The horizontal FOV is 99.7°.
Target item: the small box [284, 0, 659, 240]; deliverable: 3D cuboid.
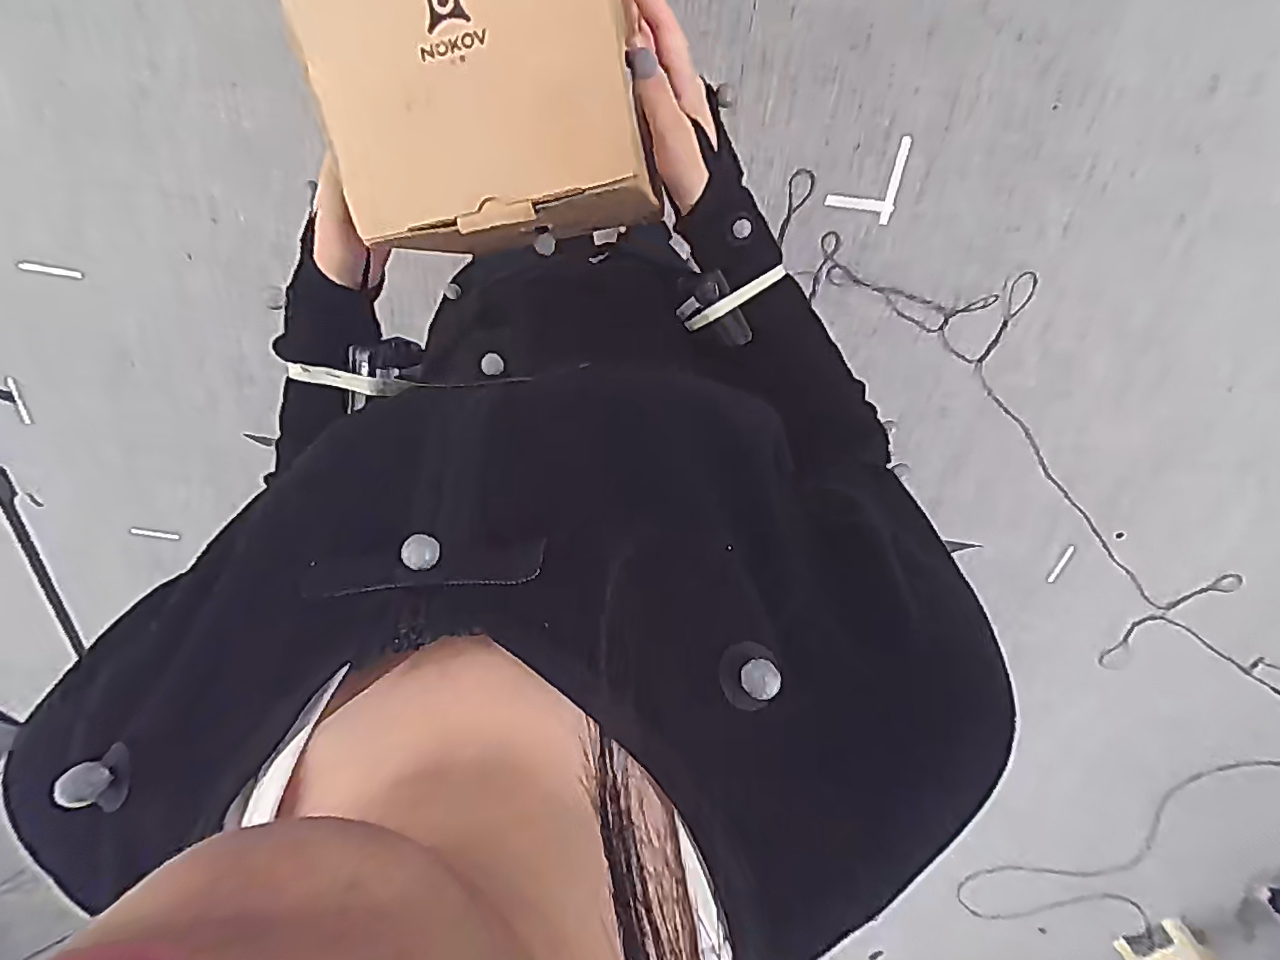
[{"bbox_3d":[-0.085,-0.258,0.340,0.168,0.176,0.179,-7,110,10],"label":"small box"}]
